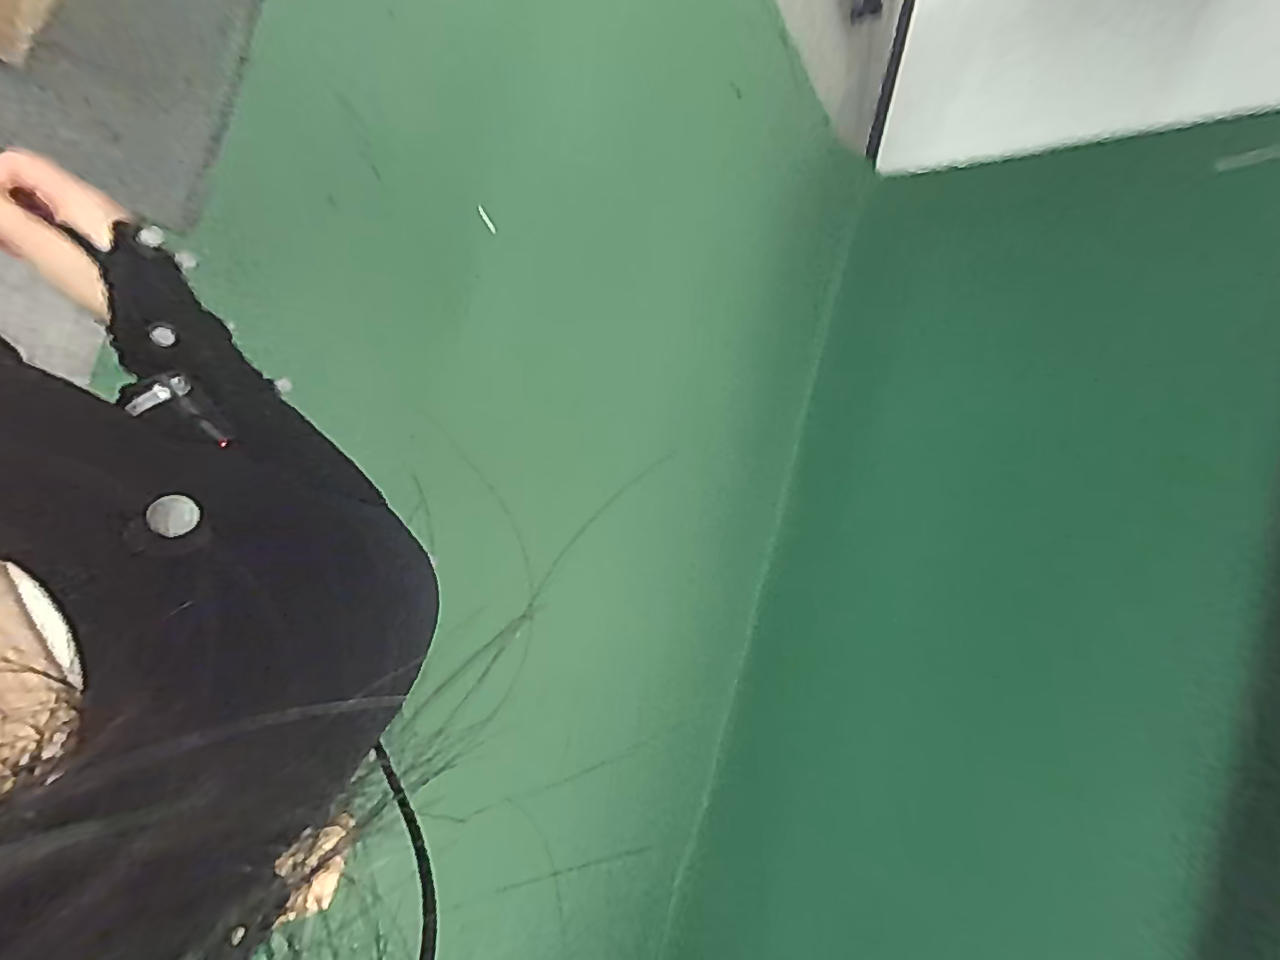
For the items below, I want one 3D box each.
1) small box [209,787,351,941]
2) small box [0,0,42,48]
[{"bbox_3d":[-0.713,0.738,1.070,0.168,0.176,0.179,24,81,-50],"label":"small box"},{"bbox_3d":[-0.503,-0.456,0.364,0.168,0.176,0.179,27,77,-48],"label":"small box"}]
